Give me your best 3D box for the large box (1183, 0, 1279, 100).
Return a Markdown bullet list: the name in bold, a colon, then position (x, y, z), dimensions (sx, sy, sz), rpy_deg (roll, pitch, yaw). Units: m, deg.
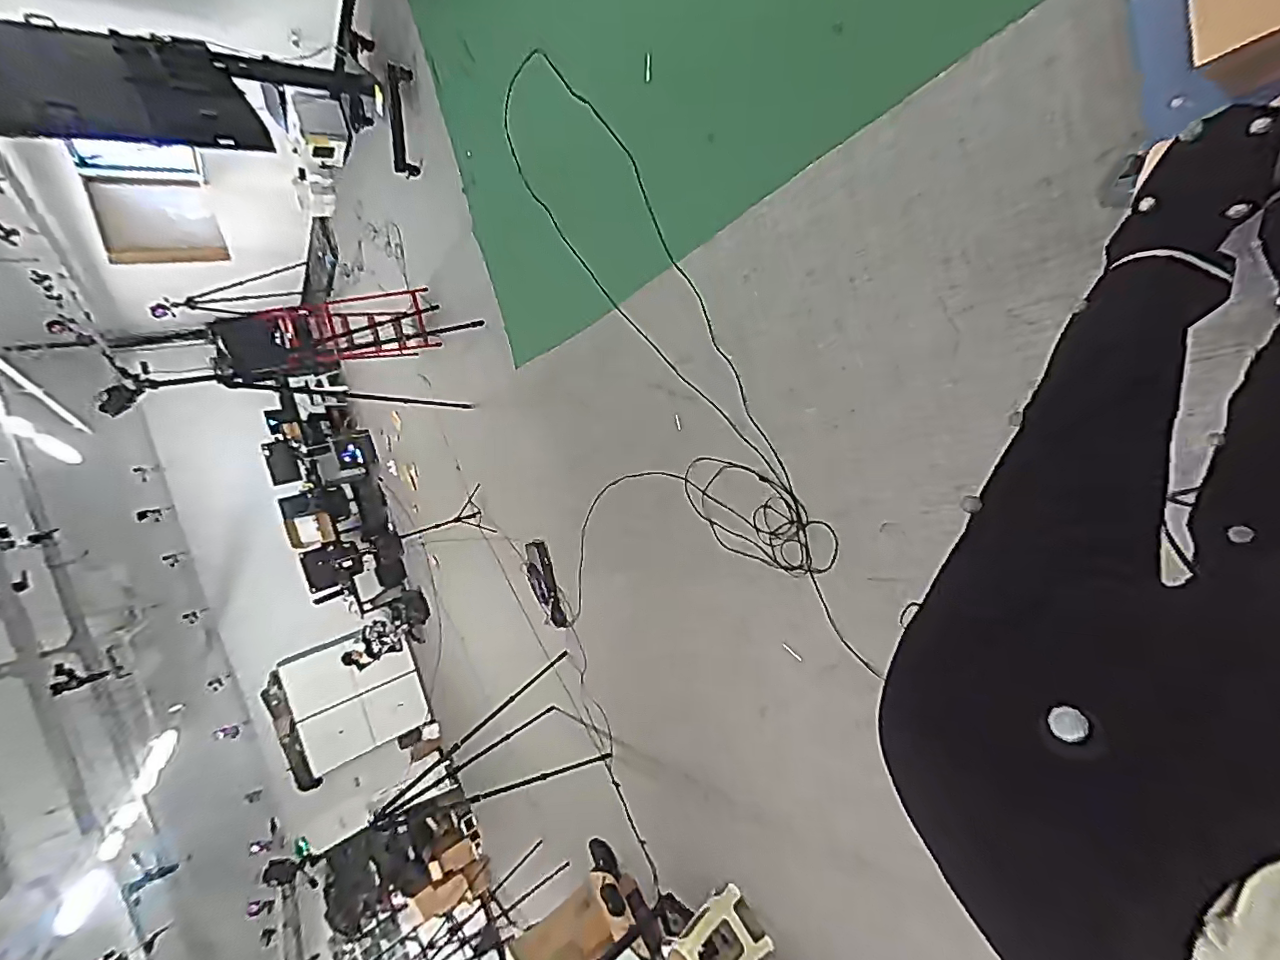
- **large box**: position (0.903, -0.781, 0.663), dimensions (0.320, 0.320, 0.408), rpy_deg (-3, 102, 54)
